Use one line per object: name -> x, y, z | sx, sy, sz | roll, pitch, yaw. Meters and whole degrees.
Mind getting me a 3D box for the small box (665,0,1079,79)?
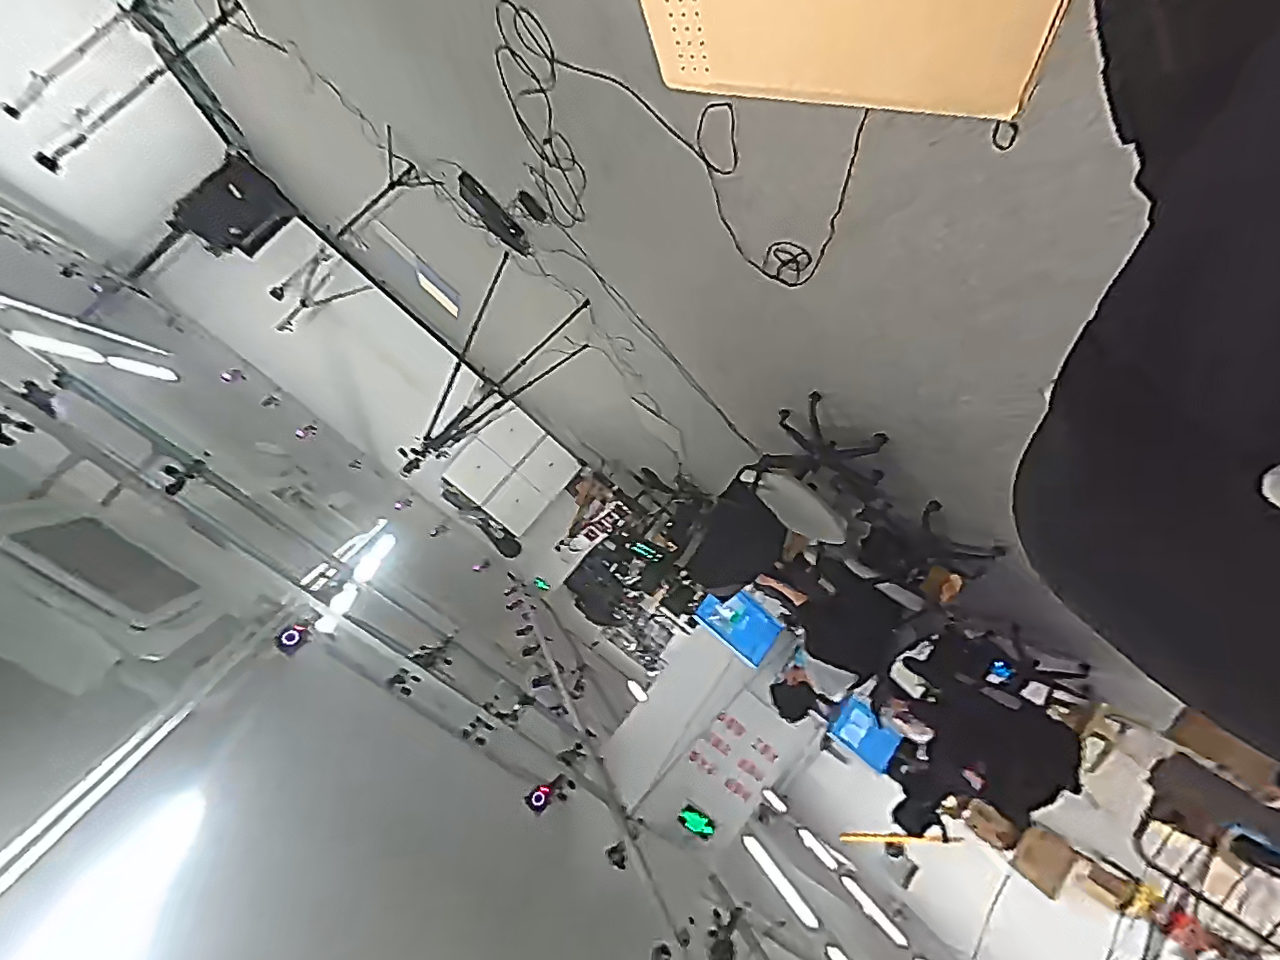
small box -> 0.096, -0.282, 0.186 | 0.176, 0.168, 0.179 | 21, 175, 22
